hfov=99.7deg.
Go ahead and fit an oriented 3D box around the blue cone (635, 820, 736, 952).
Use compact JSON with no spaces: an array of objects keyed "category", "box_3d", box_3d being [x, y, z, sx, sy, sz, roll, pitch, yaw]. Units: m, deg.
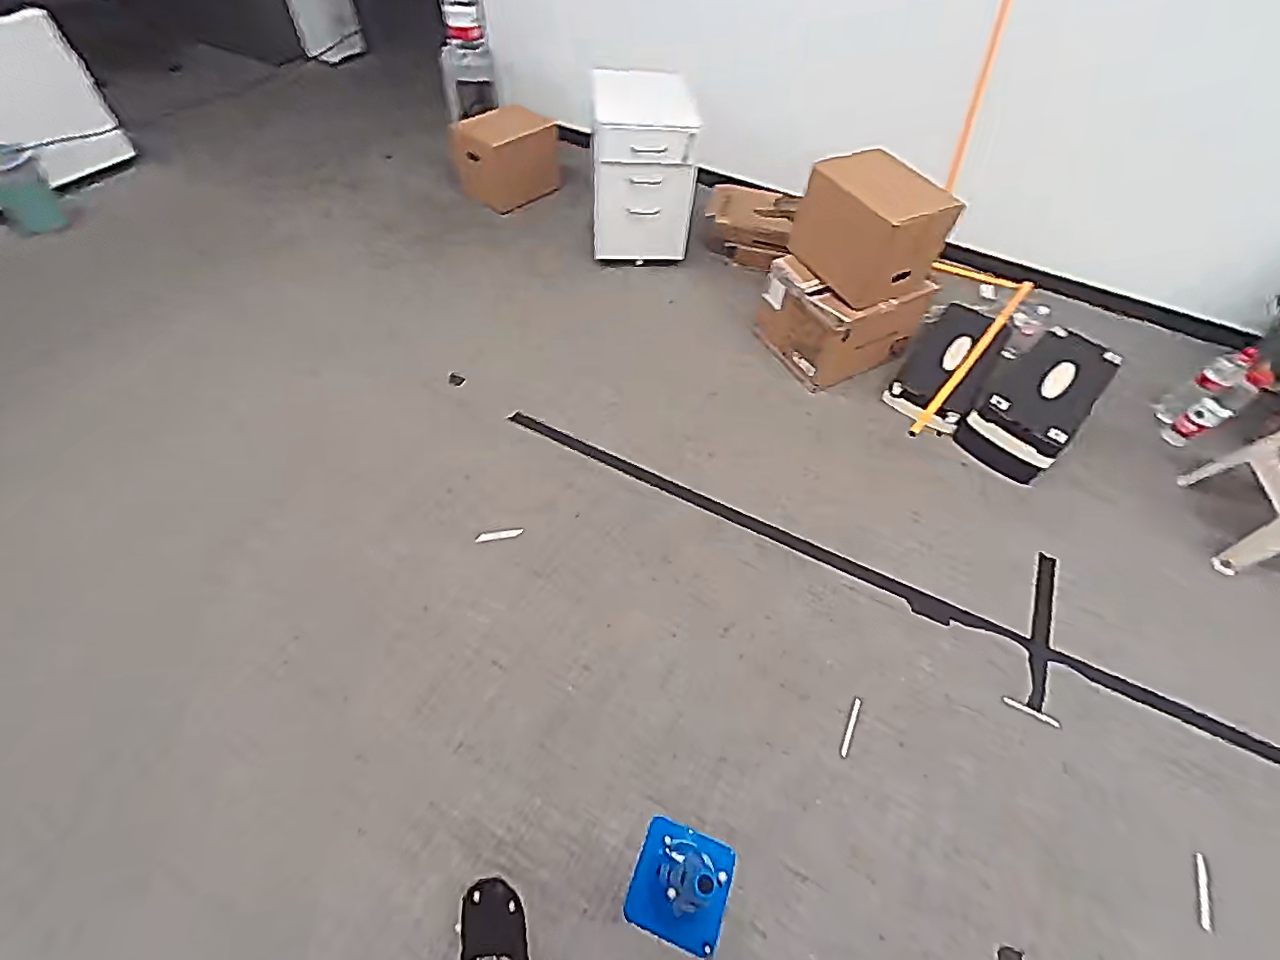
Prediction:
[{"category":"blue cone","box_3d":[0.107,0.756,1.014,0.192,0.380,0.193,21,55,11]}]
